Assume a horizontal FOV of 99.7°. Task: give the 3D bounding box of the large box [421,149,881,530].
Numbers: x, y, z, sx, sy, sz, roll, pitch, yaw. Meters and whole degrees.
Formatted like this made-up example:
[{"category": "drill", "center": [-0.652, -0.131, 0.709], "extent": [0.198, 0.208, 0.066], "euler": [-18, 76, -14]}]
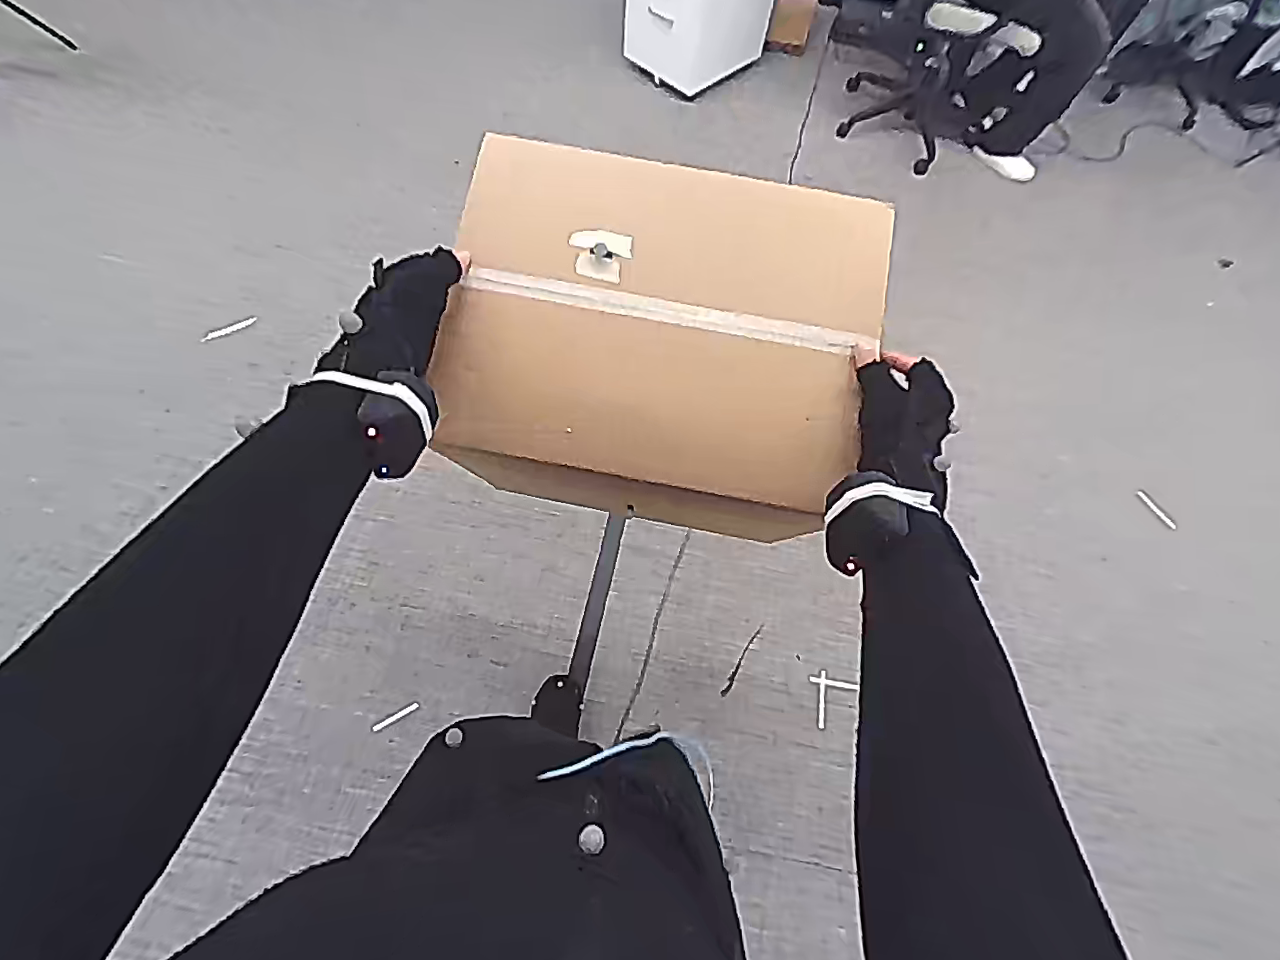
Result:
[{"category": "large box", "center": [0.021, -0.131, 0.663], "extent": [0.408, 0.320, 0.320], "euler": [11, 79, 3]}]
